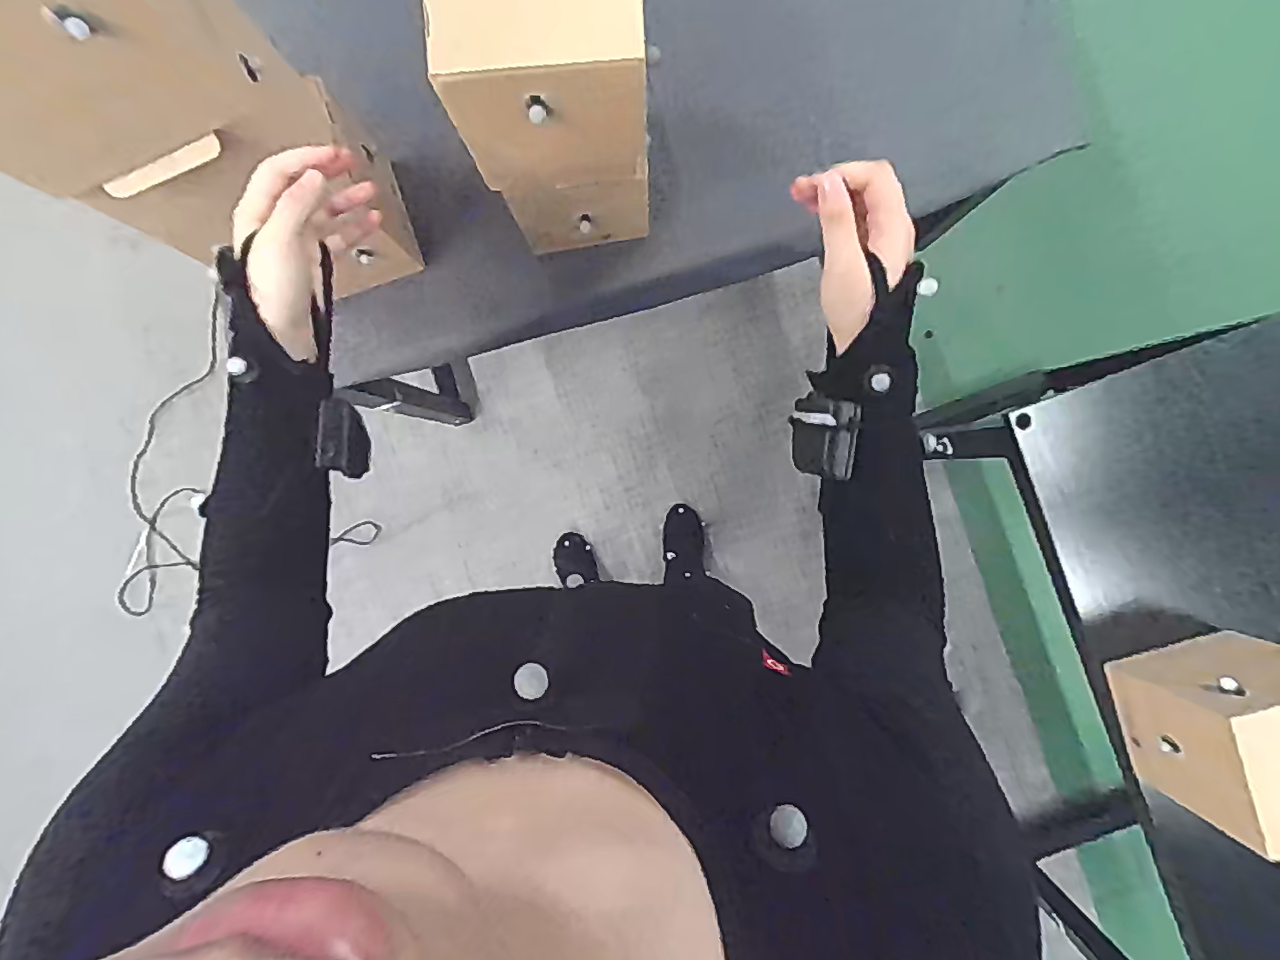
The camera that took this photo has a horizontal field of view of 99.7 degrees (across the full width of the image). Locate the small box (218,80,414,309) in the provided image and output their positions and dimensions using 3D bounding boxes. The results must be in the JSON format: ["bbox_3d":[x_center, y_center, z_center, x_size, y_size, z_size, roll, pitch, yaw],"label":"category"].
[{"bbox_3d":[-0.412,-0.342,0.683,0.179,0.176,0.168,-20,89,3],"label":"small box"}]

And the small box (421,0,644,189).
[{"bbox_3d":[-0.086,-0.401,0.507,0.179,0.176,0.168,-4,90,3],"label":"small box"}]

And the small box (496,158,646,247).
[{"bbox_3d":[-0.087,-0.410,0.671,0.168,0.176,0.179,-9,90,2],"label":"small box"}]

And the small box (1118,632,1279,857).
[{"bbox_3d":[0.740,0.306,0.661,0.179,0.176,0.168,-17,91,2],"label":"small box"}]

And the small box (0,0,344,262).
[{"bbox_3d":[-0.426,-0.337,0.519,0.168,0.176,0.179,-24,88,1],"label":"small box"}]
